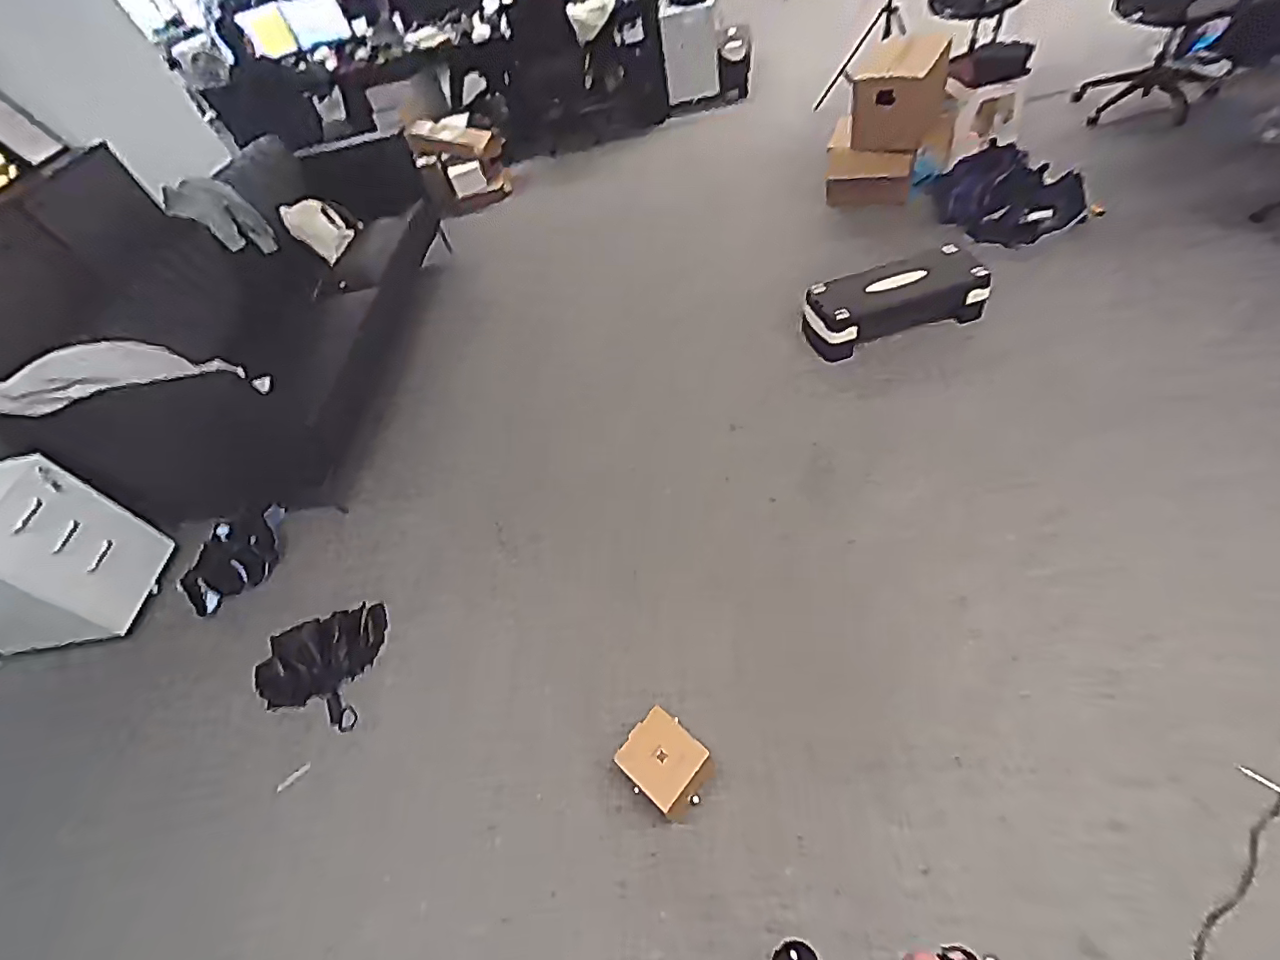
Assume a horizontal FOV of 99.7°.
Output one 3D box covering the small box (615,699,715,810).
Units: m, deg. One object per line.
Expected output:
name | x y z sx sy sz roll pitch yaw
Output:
small box | 0.069 0.689 1.347 0.179 0.176 0.168 31 66 31
